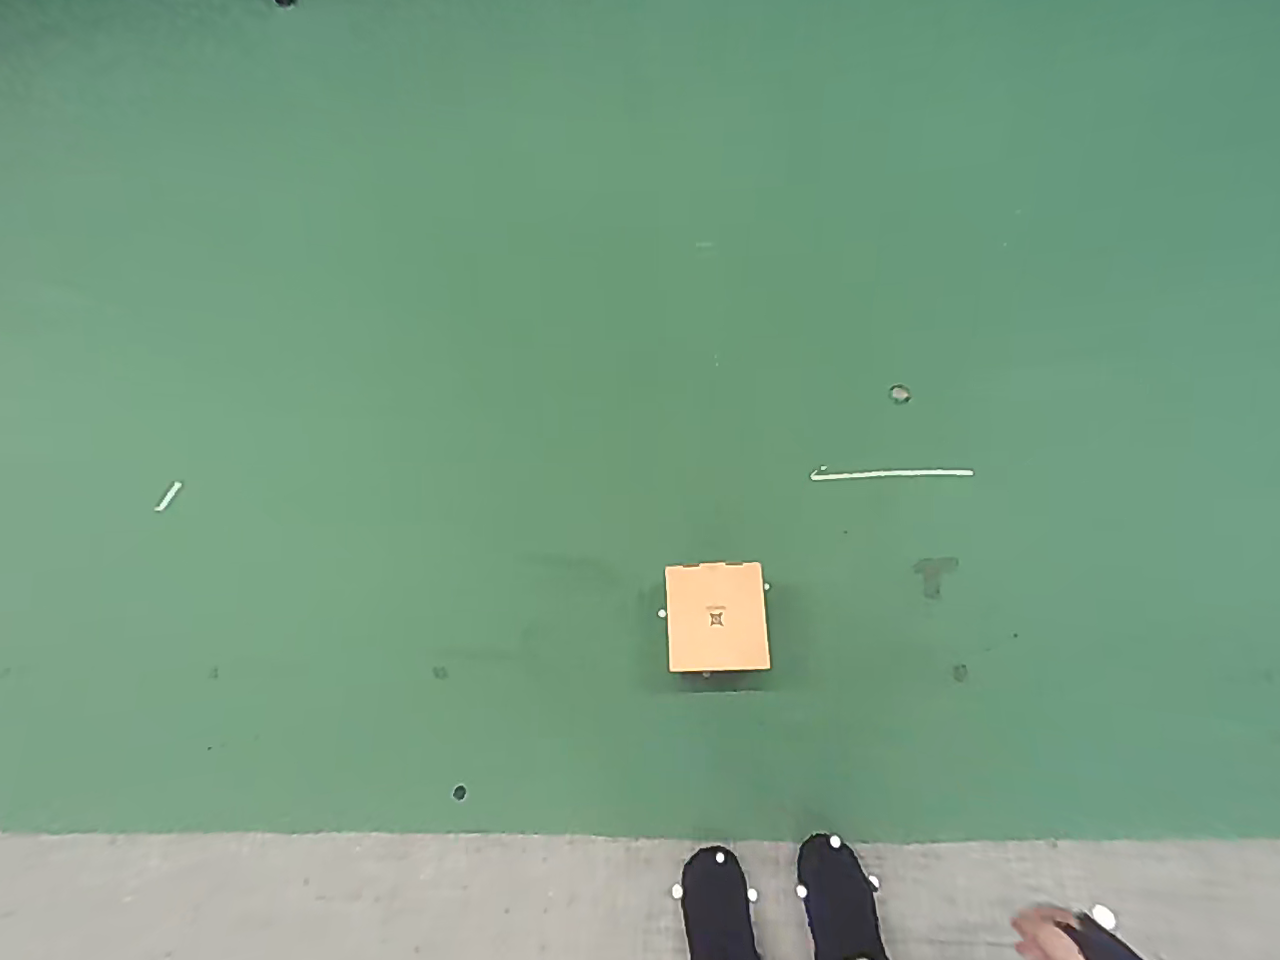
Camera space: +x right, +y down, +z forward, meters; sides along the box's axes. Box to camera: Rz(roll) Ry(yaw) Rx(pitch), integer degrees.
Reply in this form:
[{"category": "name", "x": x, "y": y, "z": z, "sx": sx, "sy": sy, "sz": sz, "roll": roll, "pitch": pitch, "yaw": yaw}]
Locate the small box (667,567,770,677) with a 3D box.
[{"category": "small box", "x": 0.139, "y": 0.255, "z": 0.973, "sx": 0.168, "sy": 0.176, "sz": 0.179, "roll": -4, "pitch": 73, "yaw": 6}]
